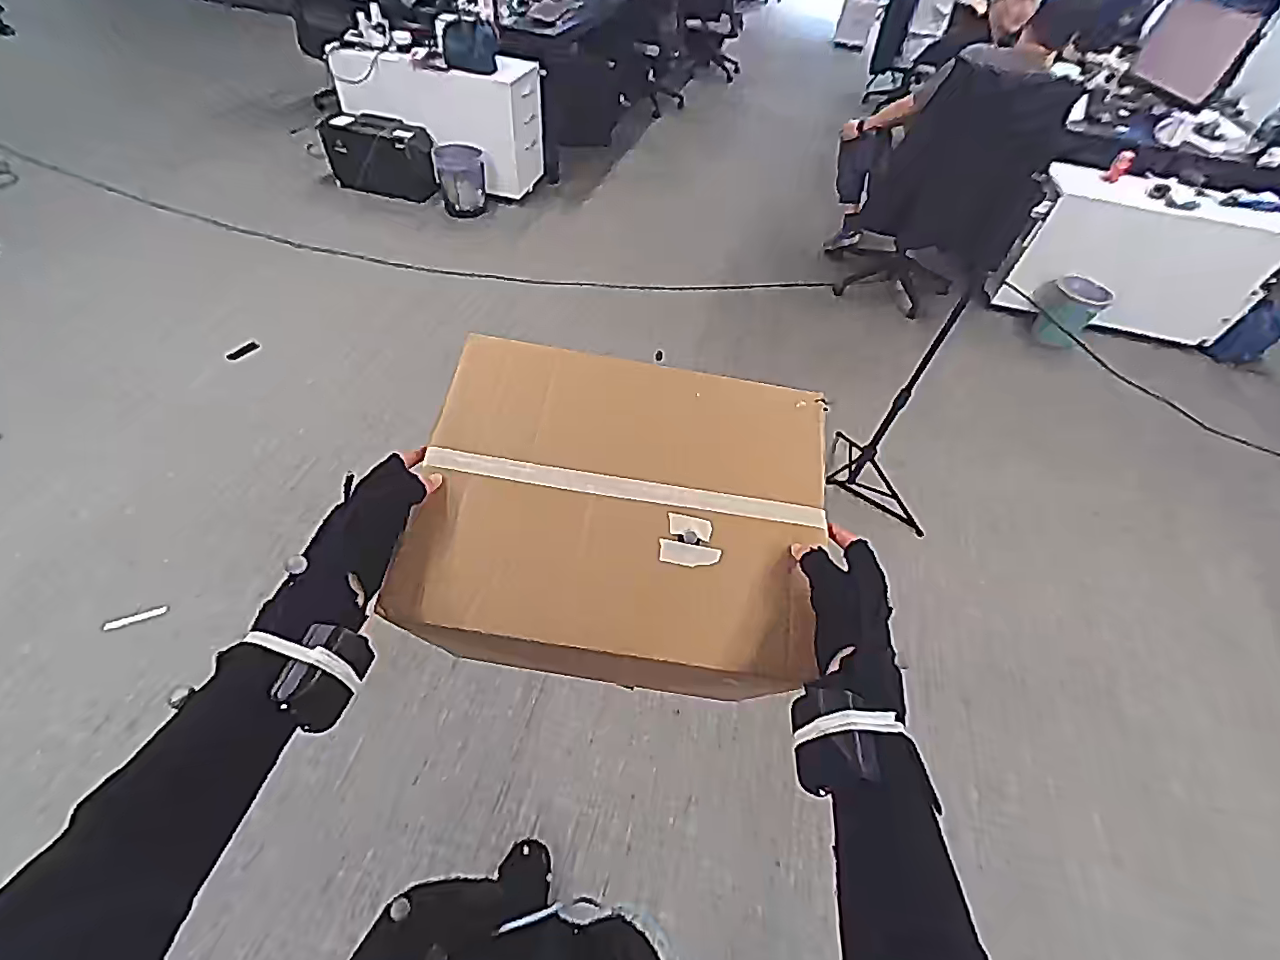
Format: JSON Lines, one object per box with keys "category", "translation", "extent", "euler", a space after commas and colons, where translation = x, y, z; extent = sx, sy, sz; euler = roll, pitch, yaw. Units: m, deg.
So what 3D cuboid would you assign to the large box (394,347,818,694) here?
{"category": "large box", "translation": [-0.027, 0.075, 0.692], "extent": [0.408, 0.320, 0.320], "euler": [10, 65, -2]}
